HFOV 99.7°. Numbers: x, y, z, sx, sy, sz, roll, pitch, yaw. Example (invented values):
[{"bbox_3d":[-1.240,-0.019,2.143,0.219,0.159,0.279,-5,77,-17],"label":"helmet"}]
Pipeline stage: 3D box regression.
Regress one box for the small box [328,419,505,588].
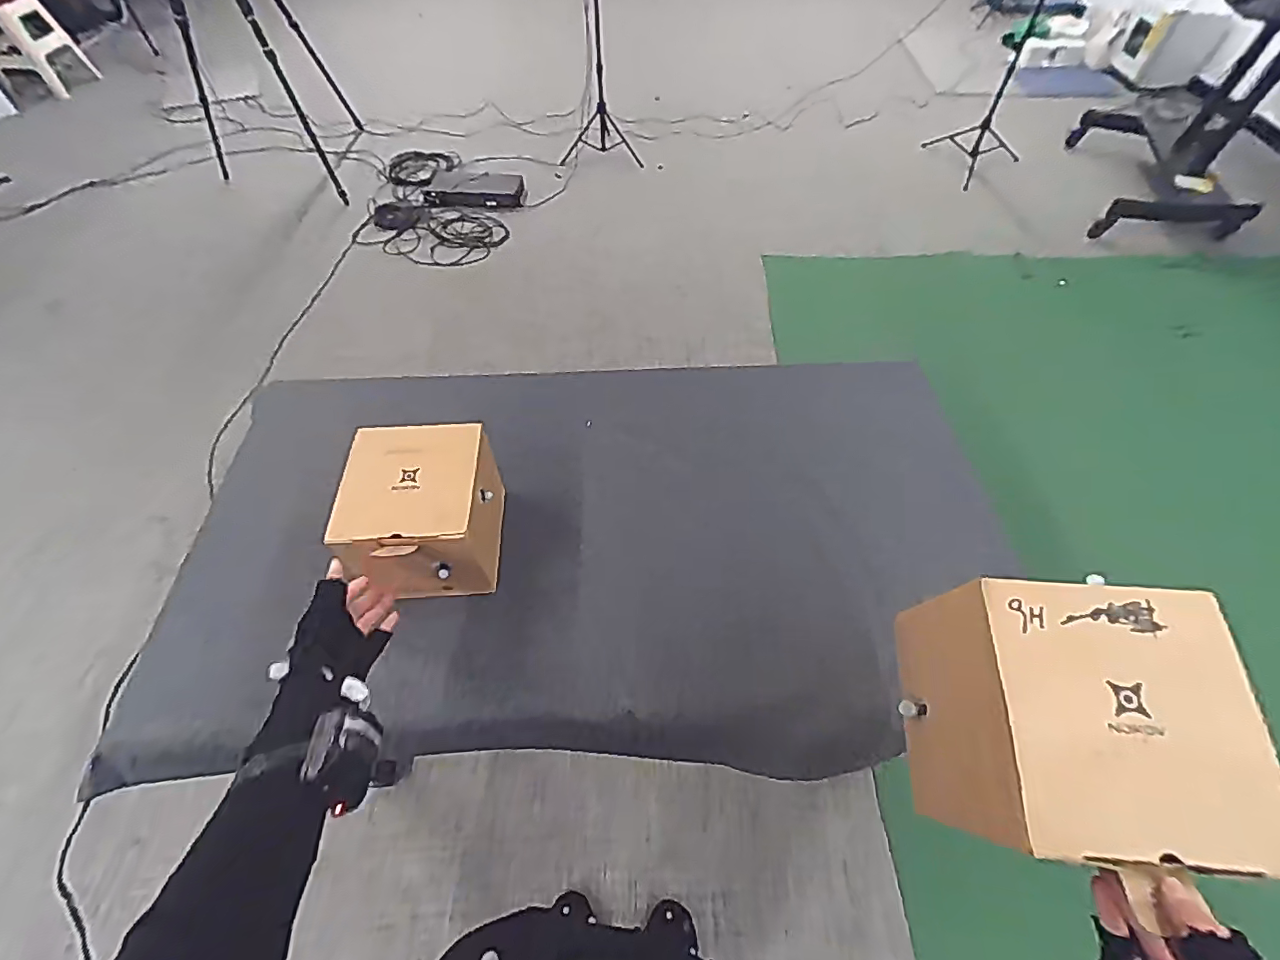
[{"bbox_3d":[-0.286,0.038,0.738,0.168,0.176,0.179,-3,54,-3],"label":"small box"}]
